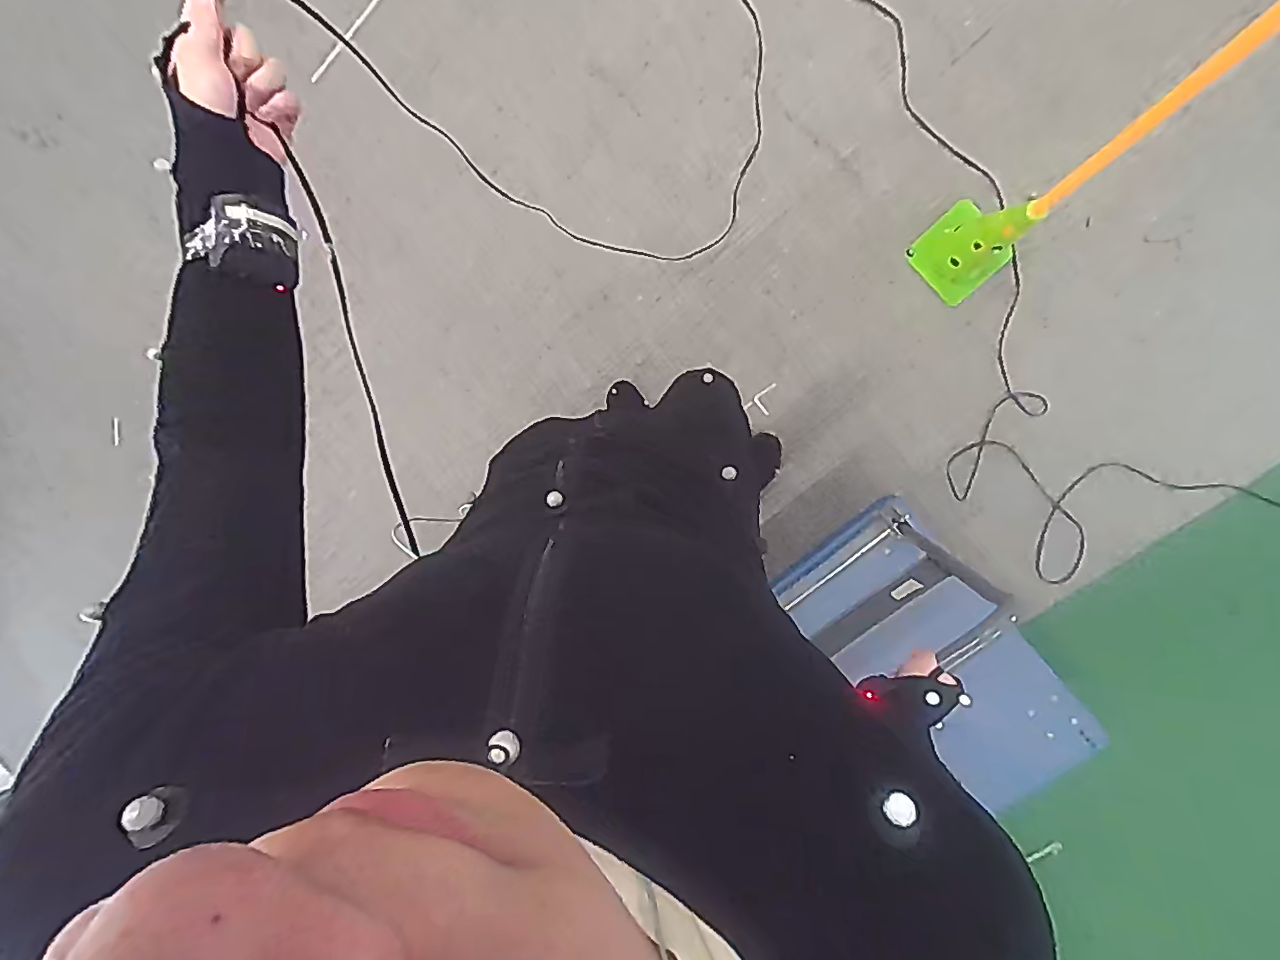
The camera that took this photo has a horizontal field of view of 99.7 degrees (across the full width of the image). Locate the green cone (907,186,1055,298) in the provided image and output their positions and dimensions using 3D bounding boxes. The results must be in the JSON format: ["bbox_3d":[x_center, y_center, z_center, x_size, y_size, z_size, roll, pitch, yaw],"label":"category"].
[{"bbox_3d":[0.802,-0.572,1.220,0.202,0.368,0.200,-44,93,11],"label":"green cone"}]
